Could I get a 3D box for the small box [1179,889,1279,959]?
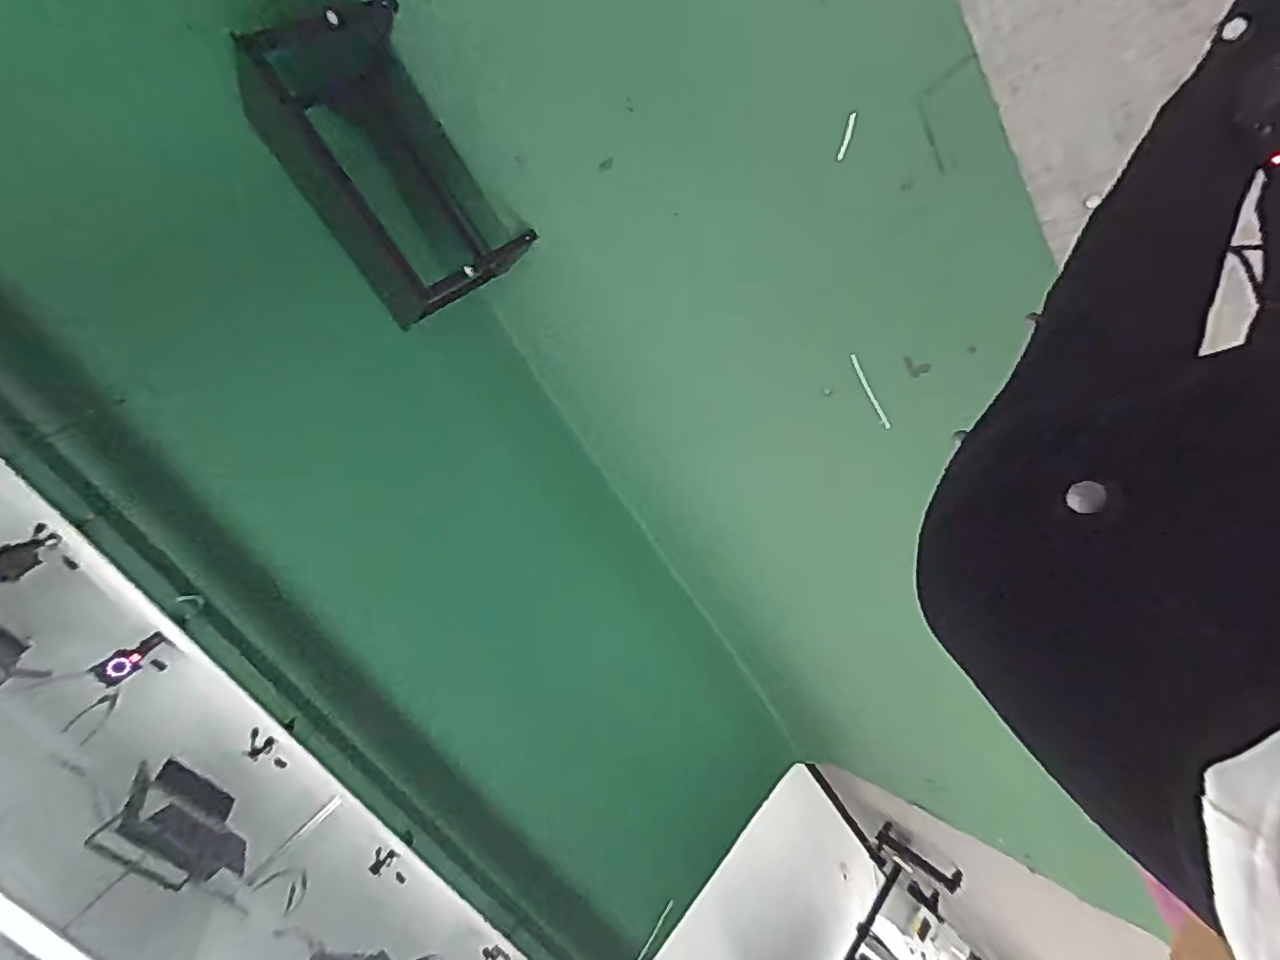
[{"bbox_3d":[1.341,1.069,1.197,0.179,0.176,0.168,56,155,-19],"label":"small box"}]
